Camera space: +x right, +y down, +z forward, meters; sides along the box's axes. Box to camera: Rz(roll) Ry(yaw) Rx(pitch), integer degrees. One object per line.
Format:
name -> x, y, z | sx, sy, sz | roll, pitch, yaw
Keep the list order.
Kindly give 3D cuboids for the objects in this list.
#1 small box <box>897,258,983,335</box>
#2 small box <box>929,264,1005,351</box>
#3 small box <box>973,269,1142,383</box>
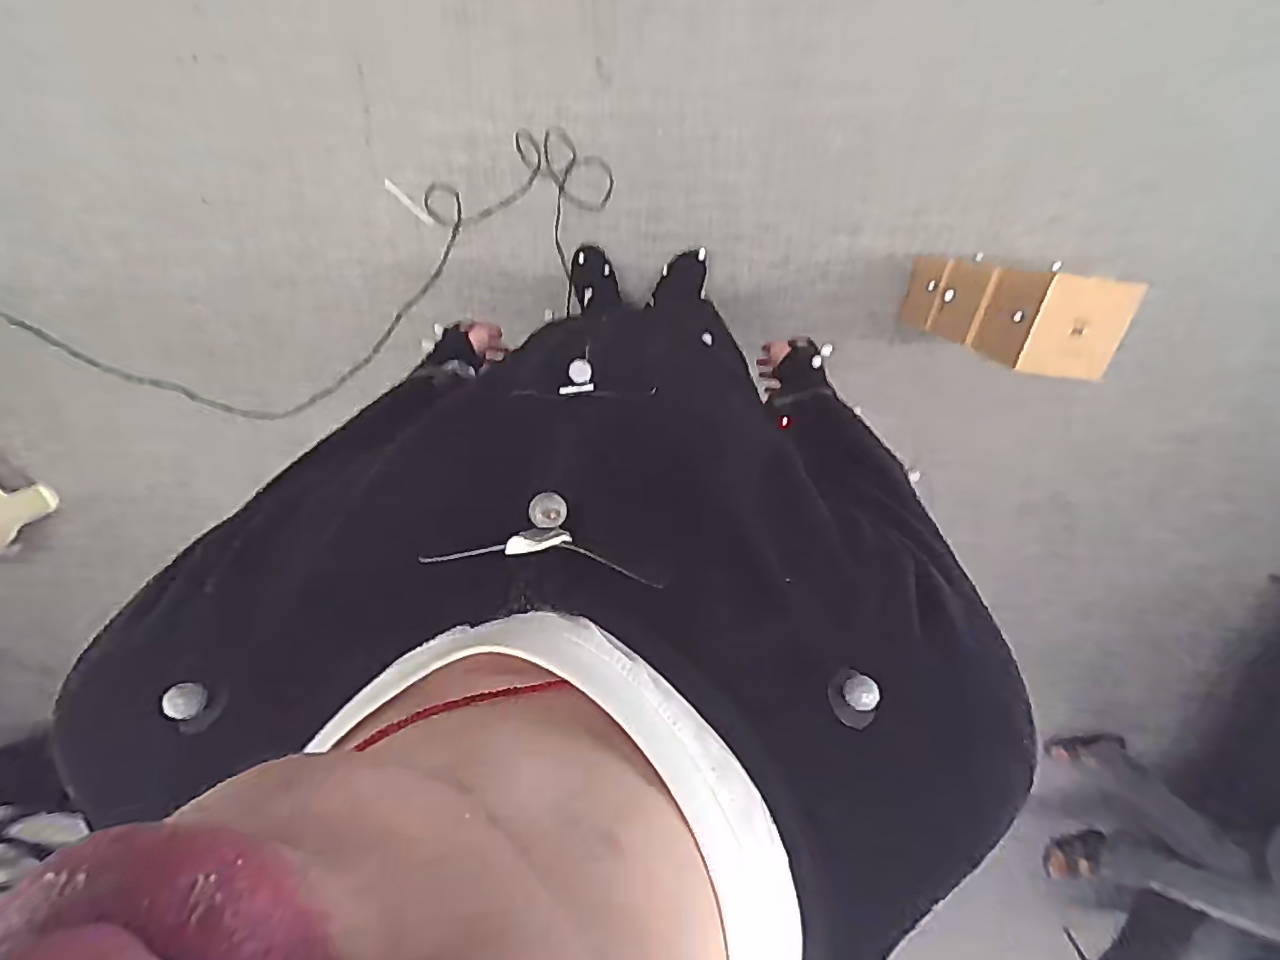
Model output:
small box -> 0.776, -0.449, 1.338 | 0.179, 0.176, 0.168 | 7, 117, -3
small box -> 0.782, -0.374, 1.191 | 0.179, 0.176, 0.168 | 8, 116, -2
small box -> 0.787, -0.304, 1.046 | 0.168, 0.176, 0.179 | 7, 117, -1
